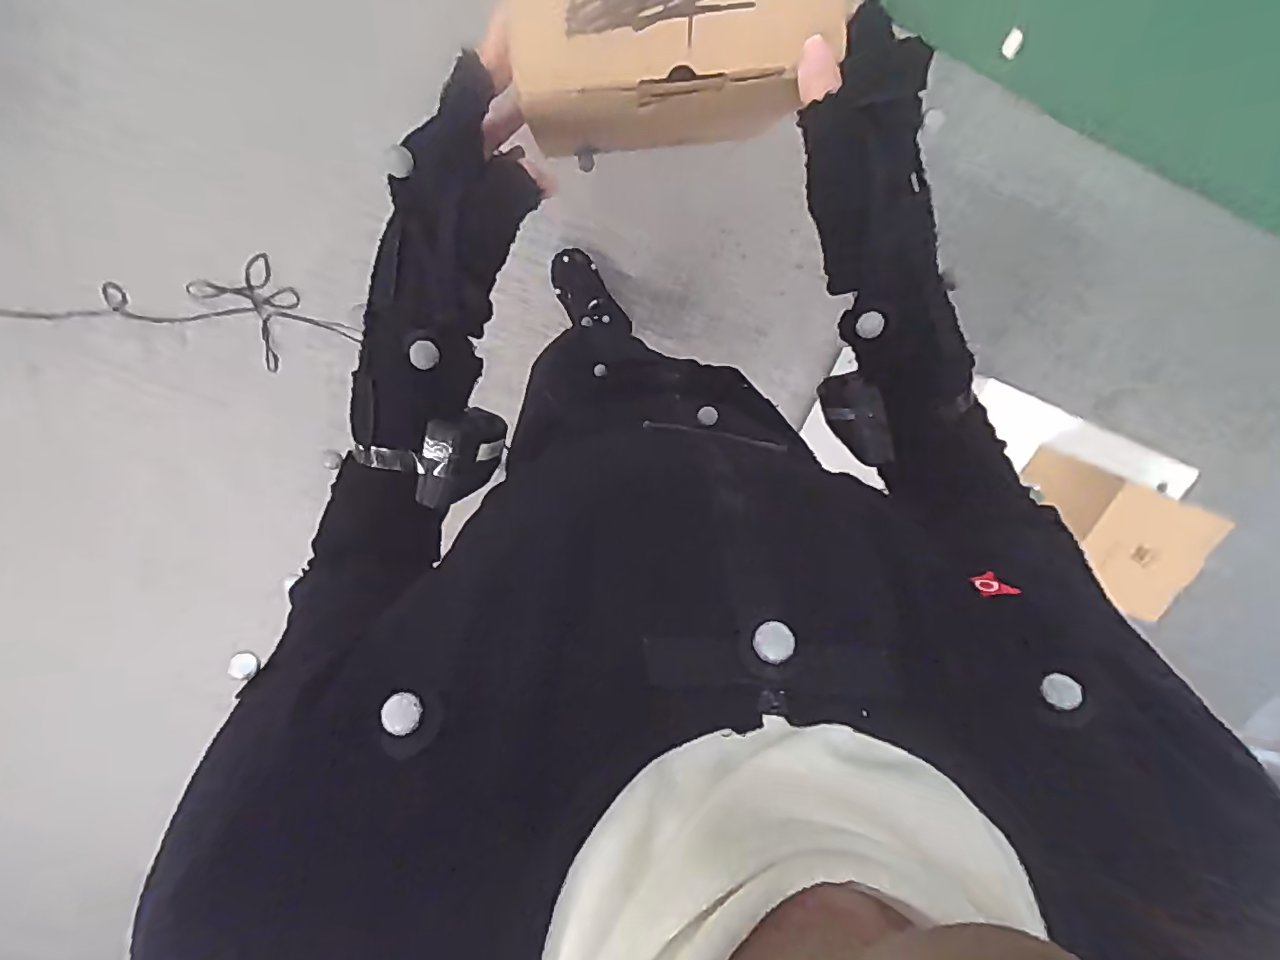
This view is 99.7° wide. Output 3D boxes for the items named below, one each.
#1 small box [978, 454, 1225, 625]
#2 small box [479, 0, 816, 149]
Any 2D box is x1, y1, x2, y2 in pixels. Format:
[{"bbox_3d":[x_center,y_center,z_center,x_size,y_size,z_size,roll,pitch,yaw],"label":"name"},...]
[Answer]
[{"bbox_3d":[0.657,0.078,0.795,0.179,0.176,0.168,20,107,-6],"label":"small box"},{"bbox_3d":[-0.005,-0.310,0.315,0.168,0.176,0.179,-7,111,-2],"label":"small box"}]
